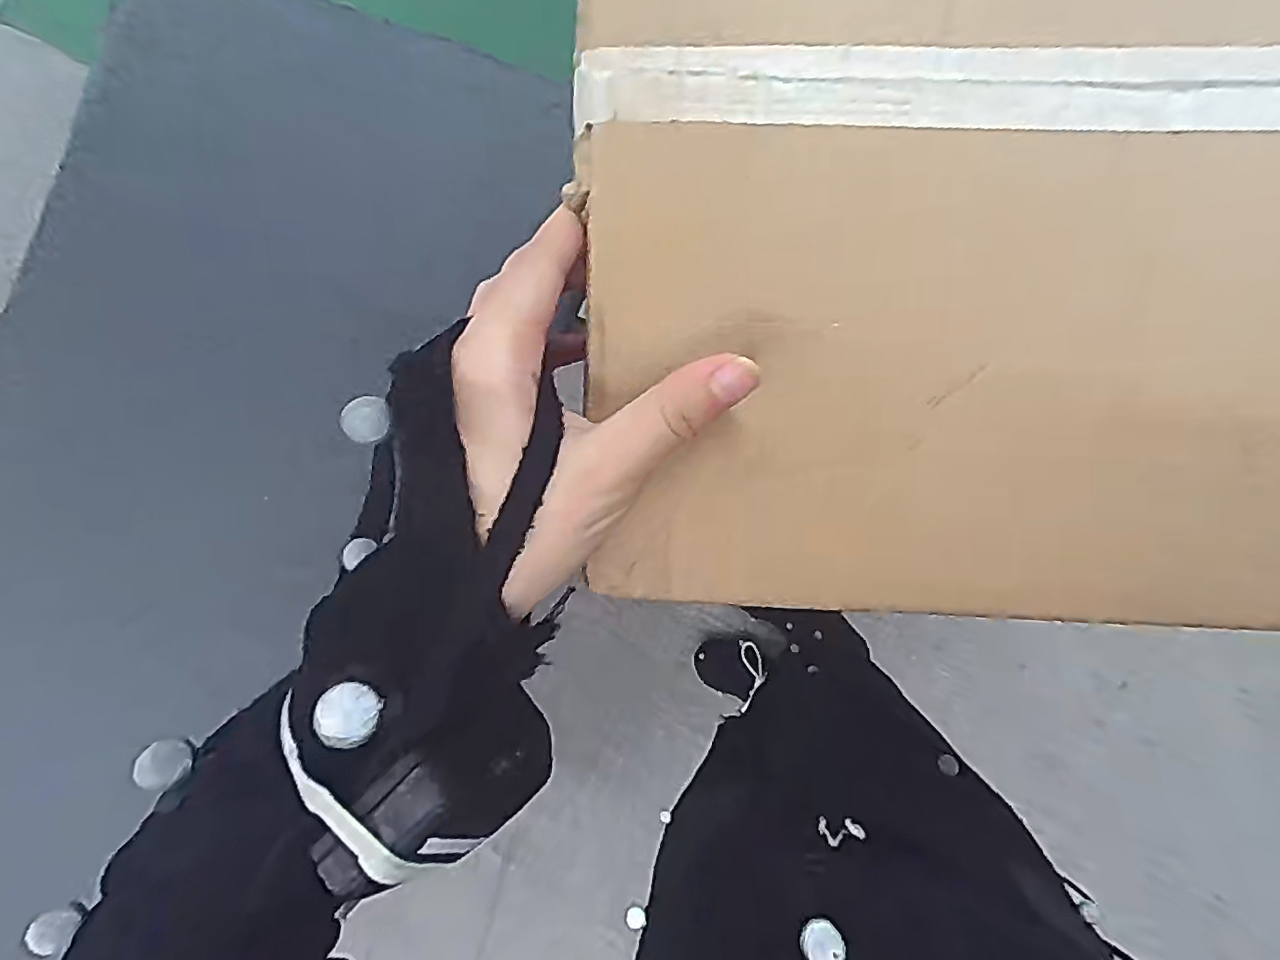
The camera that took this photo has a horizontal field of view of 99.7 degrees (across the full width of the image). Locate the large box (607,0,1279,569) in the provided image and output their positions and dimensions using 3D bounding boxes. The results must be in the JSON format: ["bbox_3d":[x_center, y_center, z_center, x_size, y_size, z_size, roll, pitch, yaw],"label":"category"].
[{"bbox_3d":[0.191,-0.137,0.320,0.408,0.320,0.320,2,97,2],"label":"large box"}]
